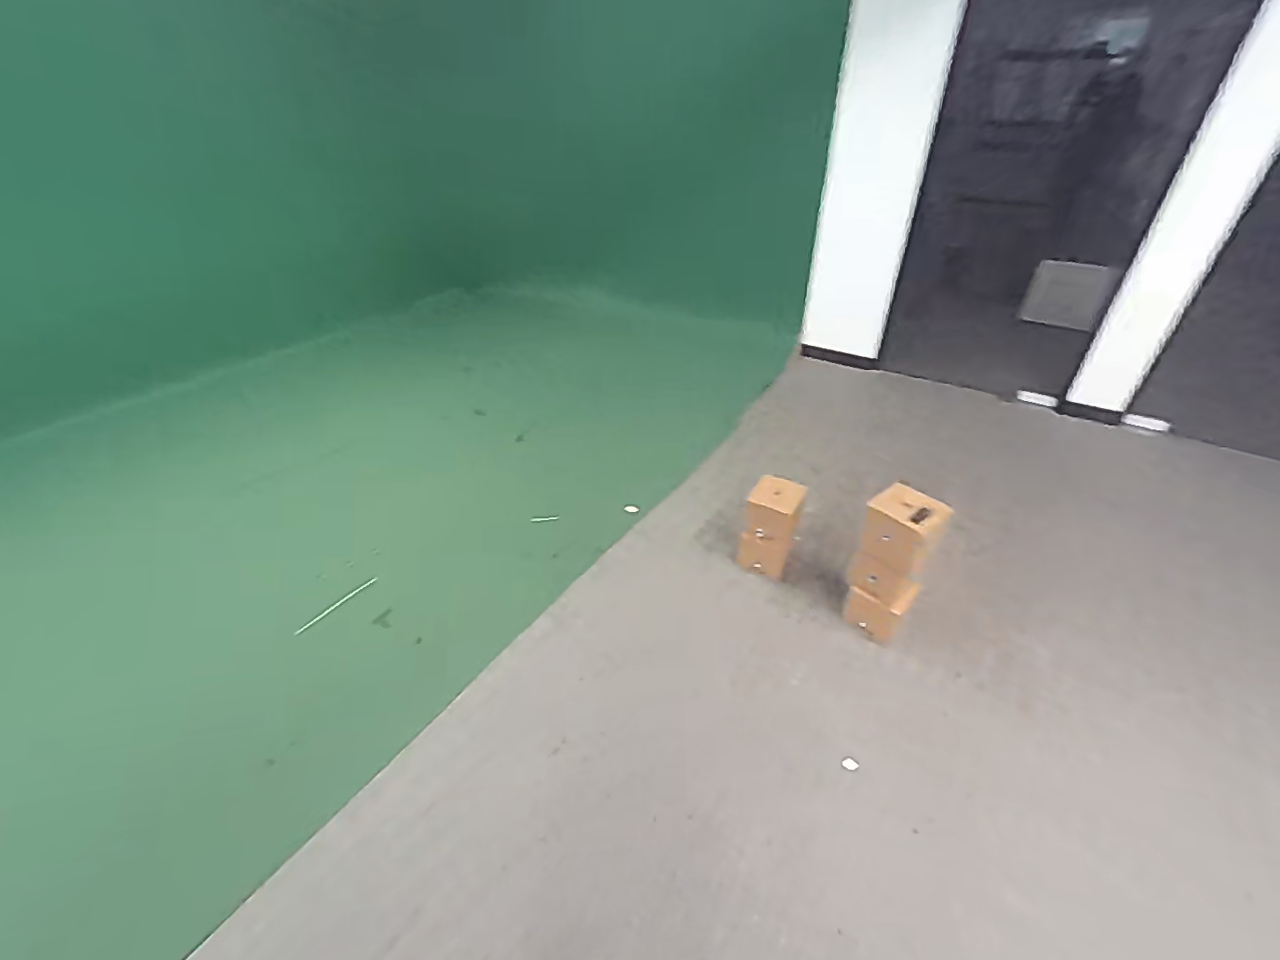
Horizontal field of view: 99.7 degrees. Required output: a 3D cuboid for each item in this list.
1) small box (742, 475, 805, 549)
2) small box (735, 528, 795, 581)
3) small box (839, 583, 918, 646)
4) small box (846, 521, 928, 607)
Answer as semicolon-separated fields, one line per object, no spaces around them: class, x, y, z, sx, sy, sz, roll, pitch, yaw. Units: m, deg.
small box;0.470;0.115;1.928;0.168;0.176;0.179;18;42;26
small box;0.465;0.245;2.025;0.168;0.176;0.179;19;42;25
small box;0.786;0.411;1.795;0.179;0.176;0.168;-32;46;-33
small box;0.774;0.269;1.713;0.179;0.176;0.168;-29;45;-30
